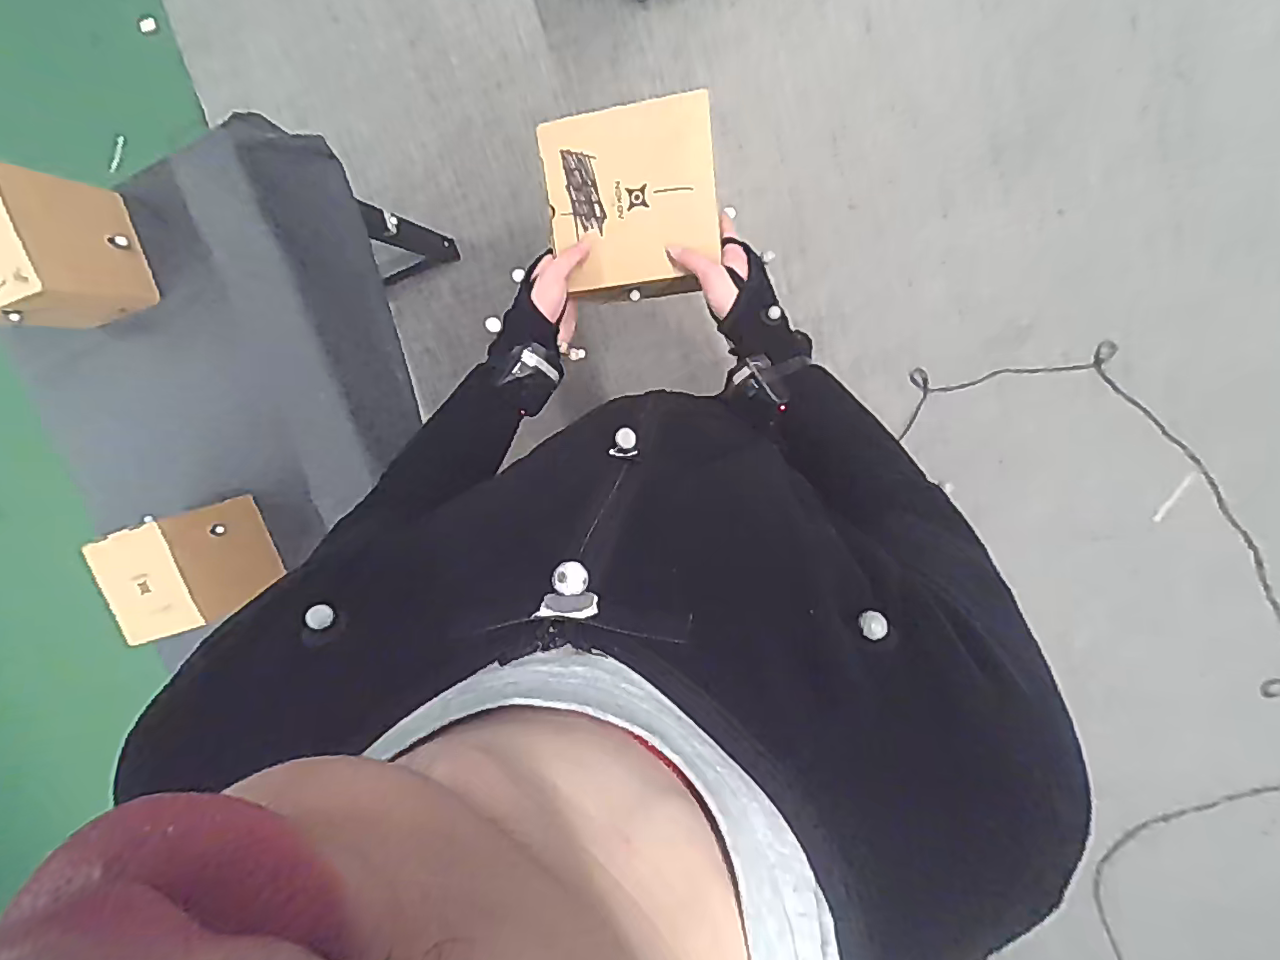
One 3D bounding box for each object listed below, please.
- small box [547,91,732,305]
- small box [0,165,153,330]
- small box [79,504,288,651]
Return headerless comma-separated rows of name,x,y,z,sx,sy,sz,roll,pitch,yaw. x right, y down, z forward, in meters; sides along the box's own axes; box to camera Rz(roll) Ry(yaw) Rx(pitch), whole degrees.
small box,0.012,-0.297,0.613,0.179,0.176,0.168,-4,103,10
small box,-0.901,-0.334,0.809,0.168,0.176,0.179,-12,100,11
small box,-0.741,0.151,0.897,0.168,0.176,0.179,-17,101,14
